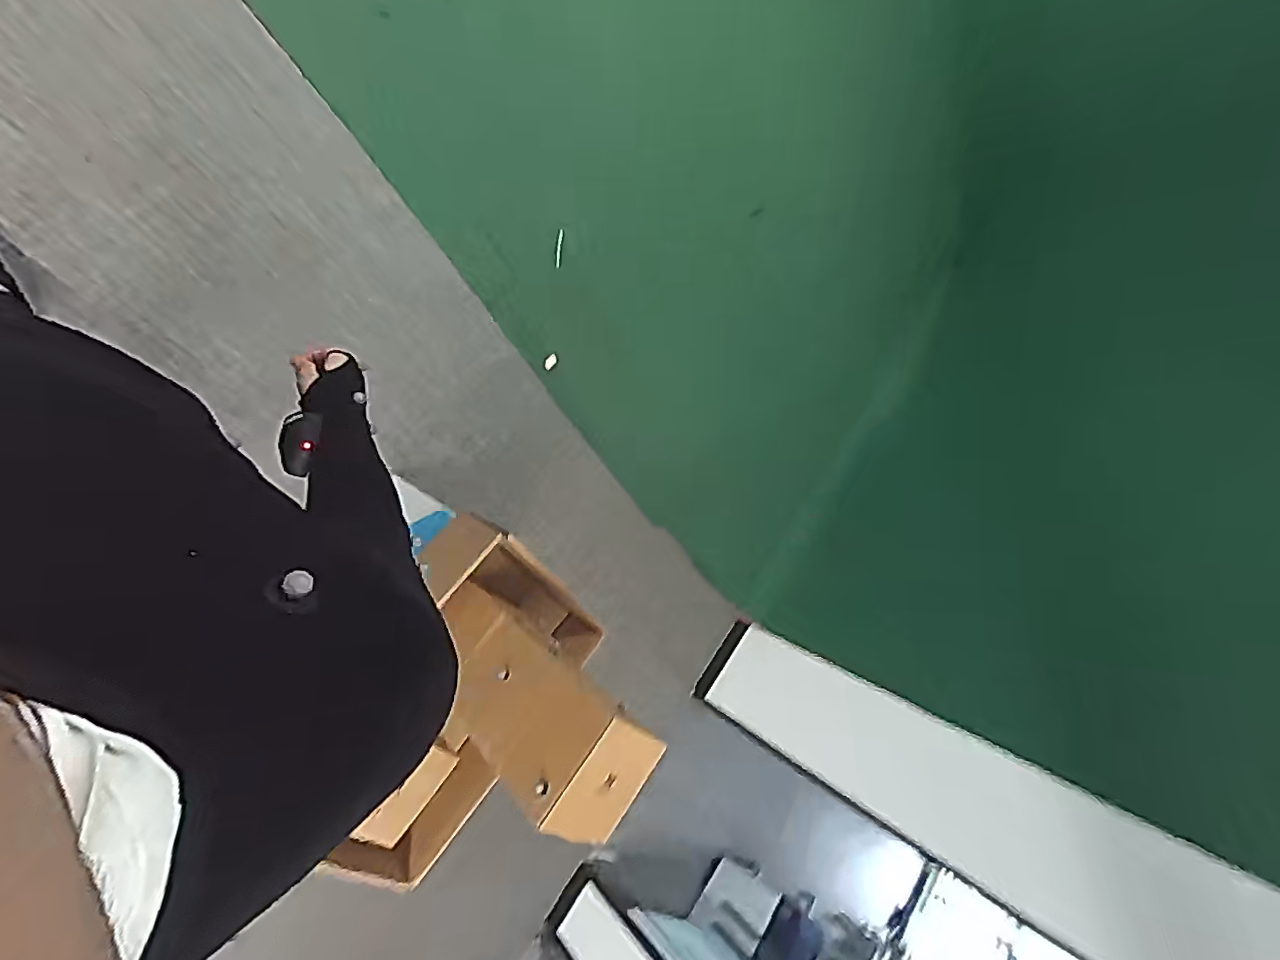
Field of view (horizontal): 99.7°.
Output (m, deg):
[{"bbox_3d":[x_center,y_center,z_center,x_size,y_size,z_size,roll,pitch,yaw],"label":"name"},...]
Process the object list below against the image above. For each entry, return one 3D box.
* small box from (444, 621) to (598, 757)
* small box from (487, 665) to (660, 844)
[{"bbox_3d":[-0.216,0.384,0.970,0.179,0.176,0.168,-53,132,-15],"label":"small box"},{"bbox_3d":[-0.107,0.426,0.855,0.179,0.176,0.168,-53,133,-13],"label":"small box"}]
